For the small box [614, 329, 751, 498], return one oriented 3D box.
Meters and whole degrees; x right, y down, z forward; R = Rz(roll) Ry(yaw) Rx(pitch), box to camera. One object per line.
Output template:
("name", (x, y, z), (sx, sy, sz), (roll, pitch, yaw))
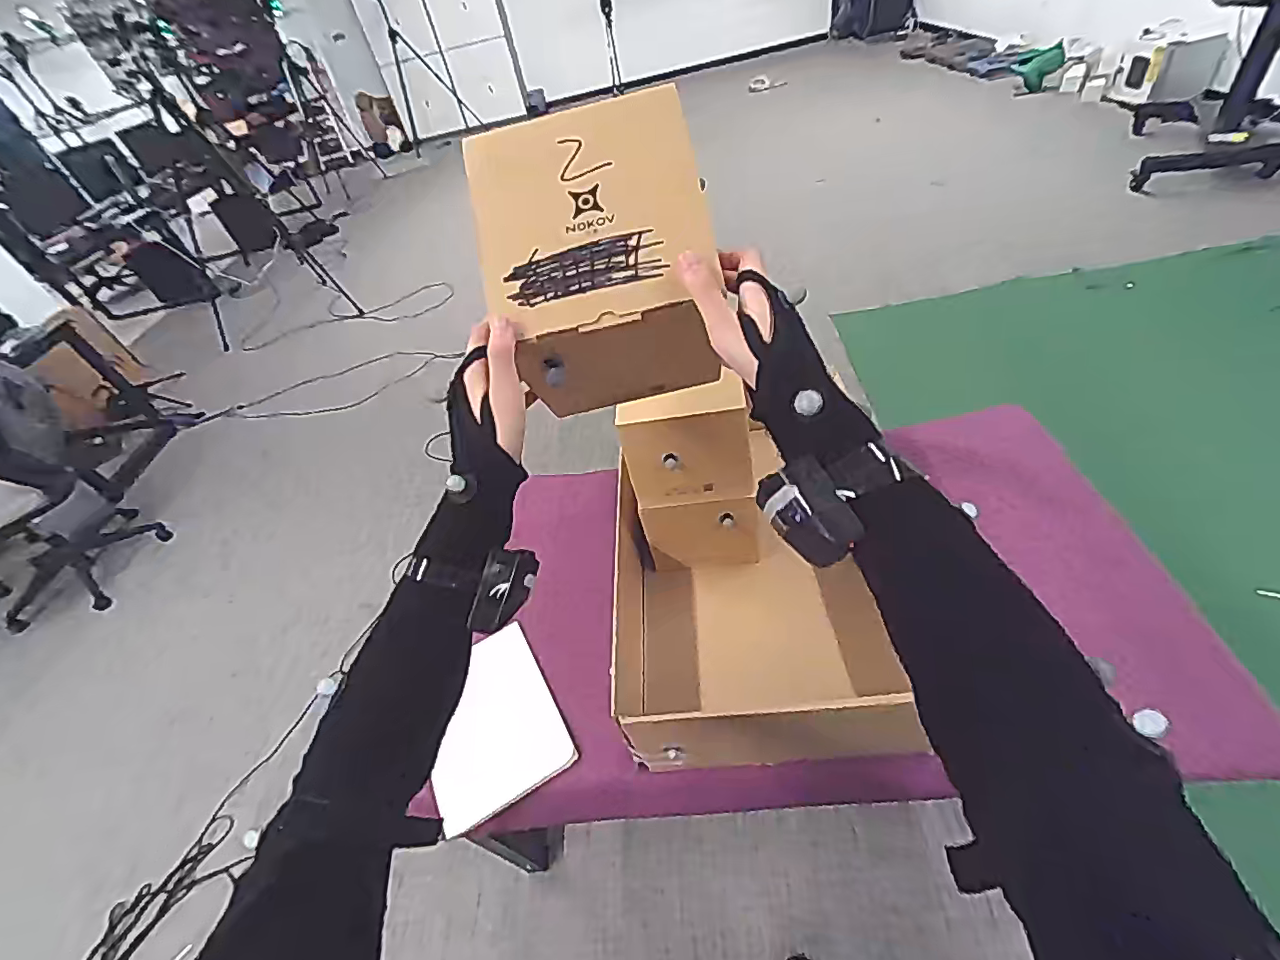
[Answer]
("small box", (0.065, -0.088, 0.778), (0.168, 0.176, 0.179), (-7, 46, 9))
